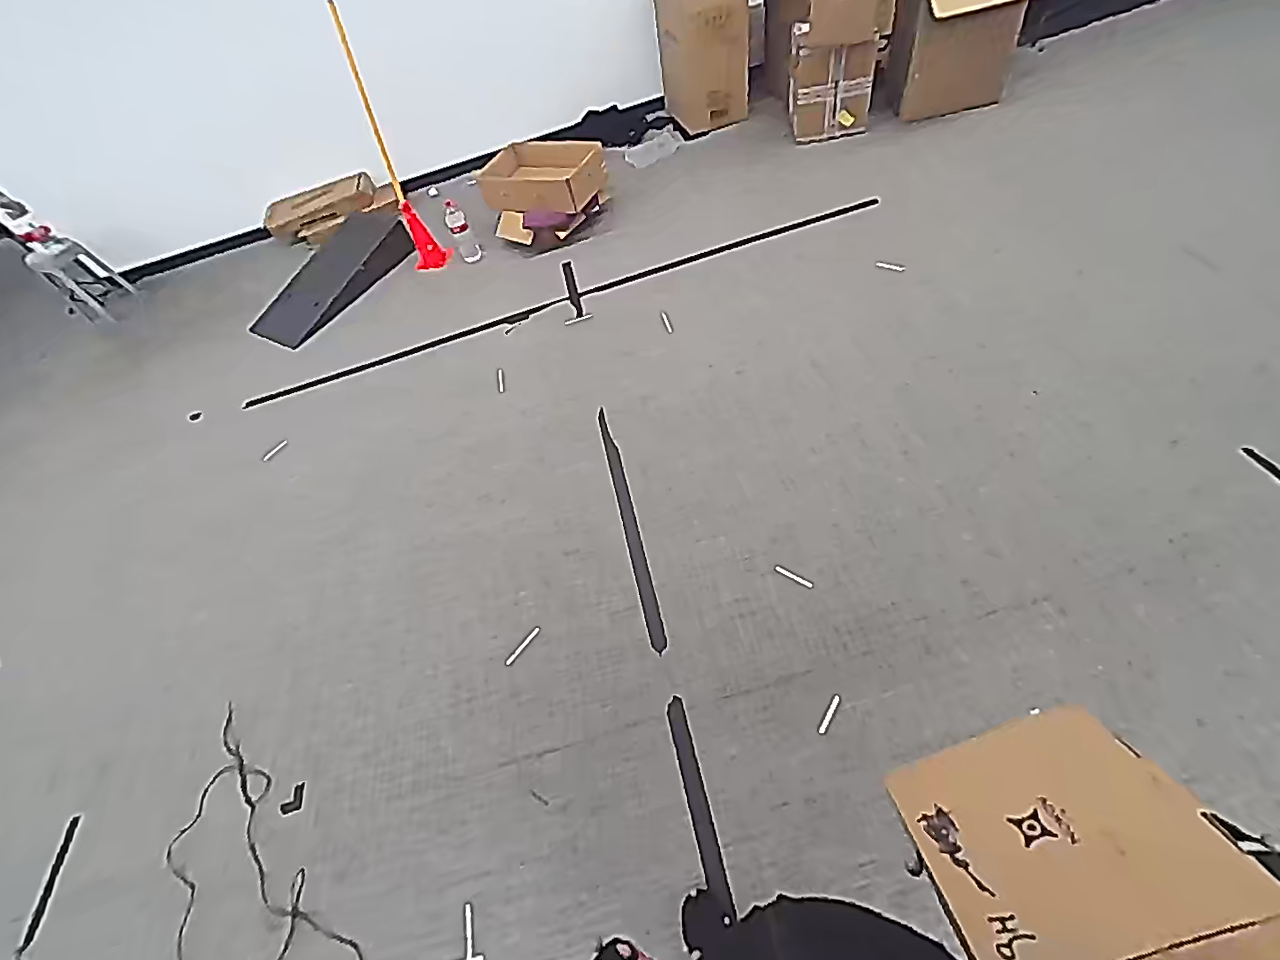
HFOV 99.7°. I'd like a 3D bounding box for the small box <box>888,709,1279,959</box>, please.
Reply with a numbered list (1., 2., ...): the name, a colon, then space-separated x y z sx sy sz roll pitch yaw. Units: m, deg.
1. small box: 0.330 0.322 0.416 0.179 0.176 0.168 -25 15 8
